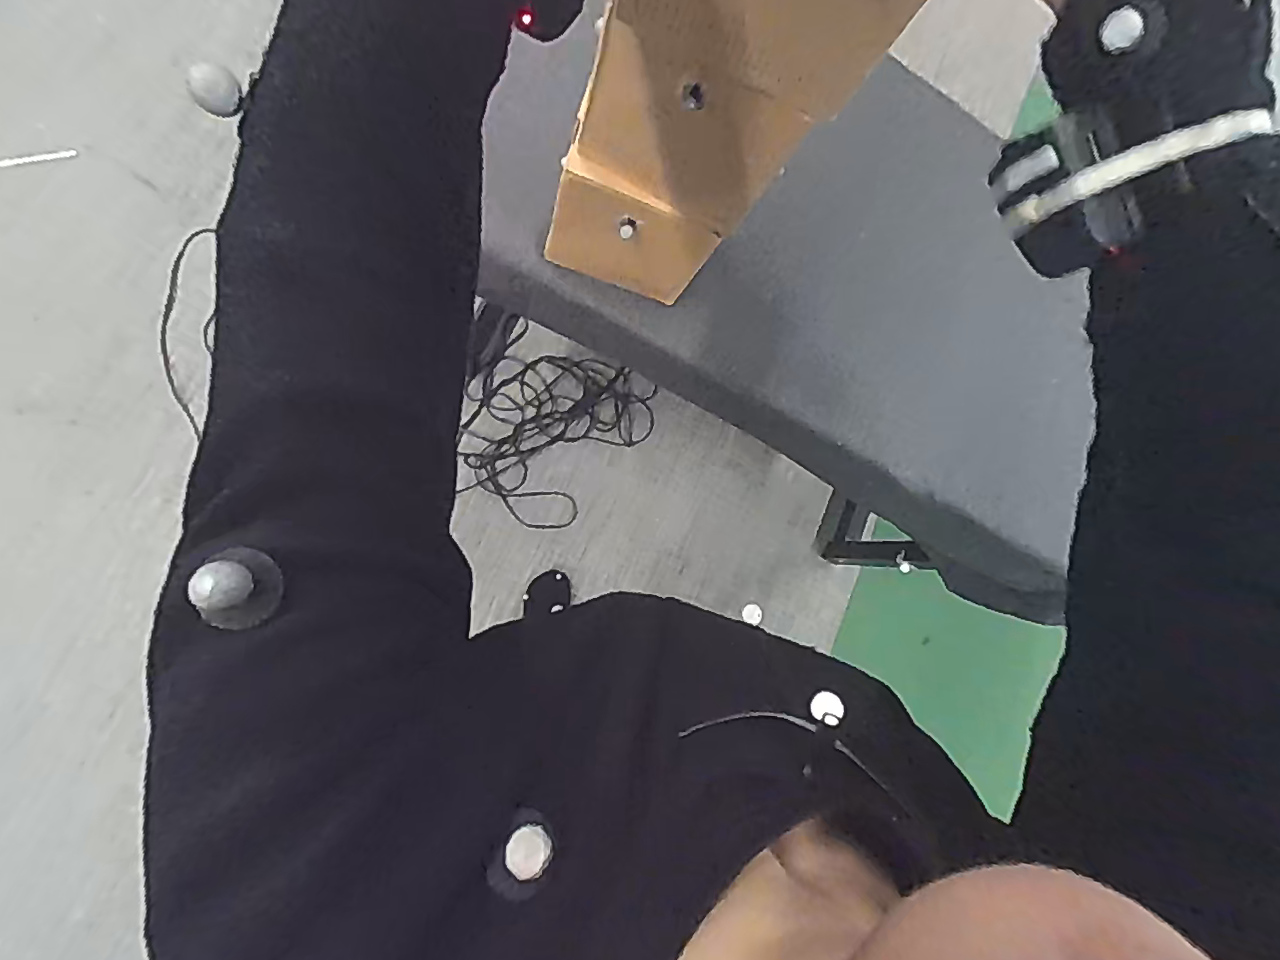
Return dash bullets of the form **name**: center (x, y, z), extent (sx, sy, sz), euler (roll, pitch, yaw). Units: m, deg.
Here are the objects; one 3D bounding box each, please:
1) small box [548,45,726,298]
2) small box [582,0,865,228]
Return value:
- **small box**: center (0.003, -0.338, 0.629), extent (0.179, 0.176, 0.168), euler (16, 79, -12)
- **small box**: center (0.064, -0.365, 0.480), extent (0.179, 0.176, 0.168), euler (25, 78, -11)
